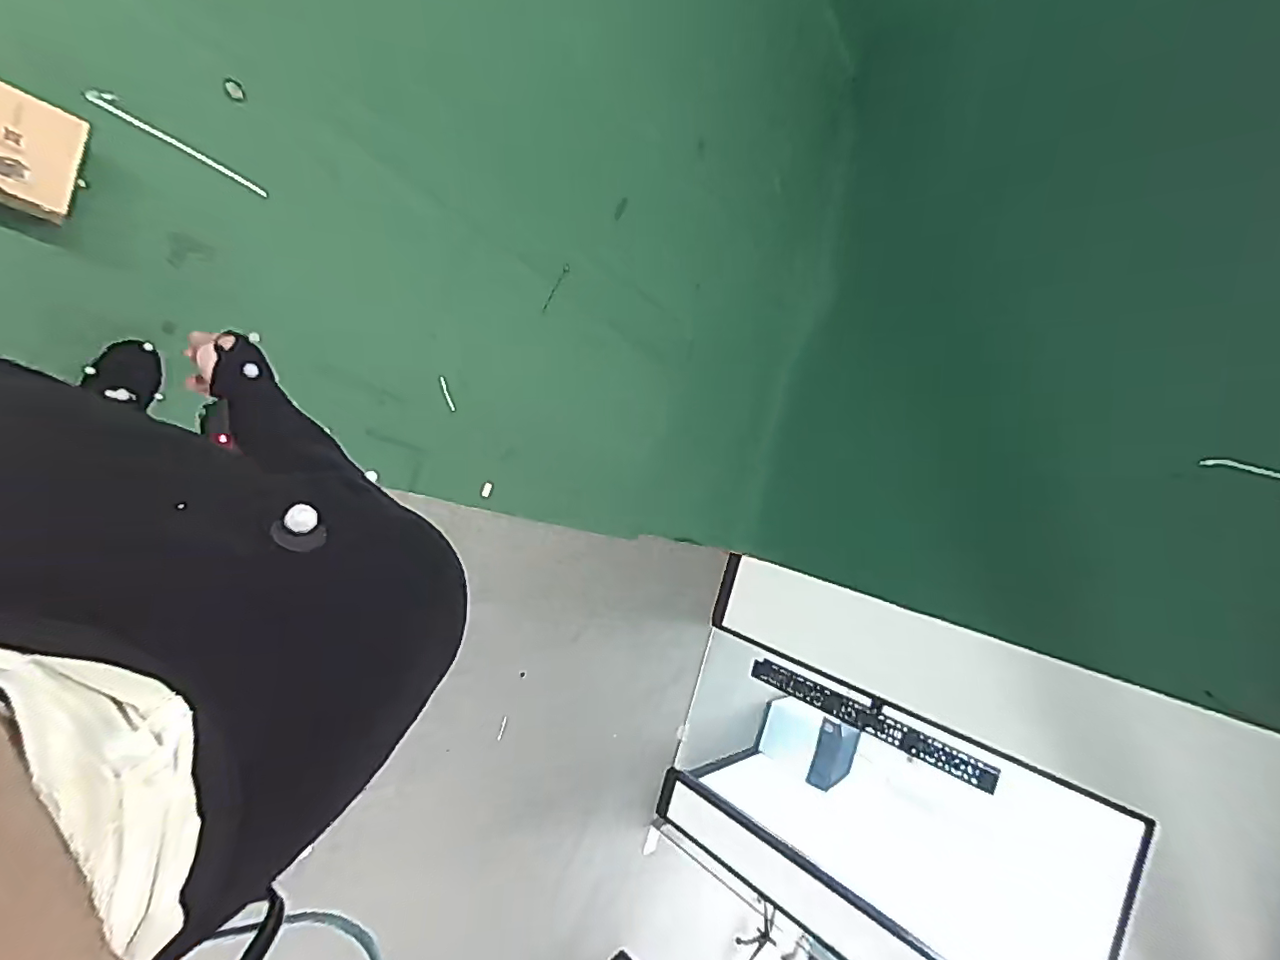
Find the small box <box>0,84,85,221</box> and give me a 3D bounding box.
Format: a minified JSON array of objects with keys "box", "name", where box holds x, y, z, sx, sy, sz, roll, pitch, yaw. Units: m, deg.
[{"box":[-1.135,-0.590,0.968,0.168,0.176,0.179,15,90,-50],"name":"small box"}]
